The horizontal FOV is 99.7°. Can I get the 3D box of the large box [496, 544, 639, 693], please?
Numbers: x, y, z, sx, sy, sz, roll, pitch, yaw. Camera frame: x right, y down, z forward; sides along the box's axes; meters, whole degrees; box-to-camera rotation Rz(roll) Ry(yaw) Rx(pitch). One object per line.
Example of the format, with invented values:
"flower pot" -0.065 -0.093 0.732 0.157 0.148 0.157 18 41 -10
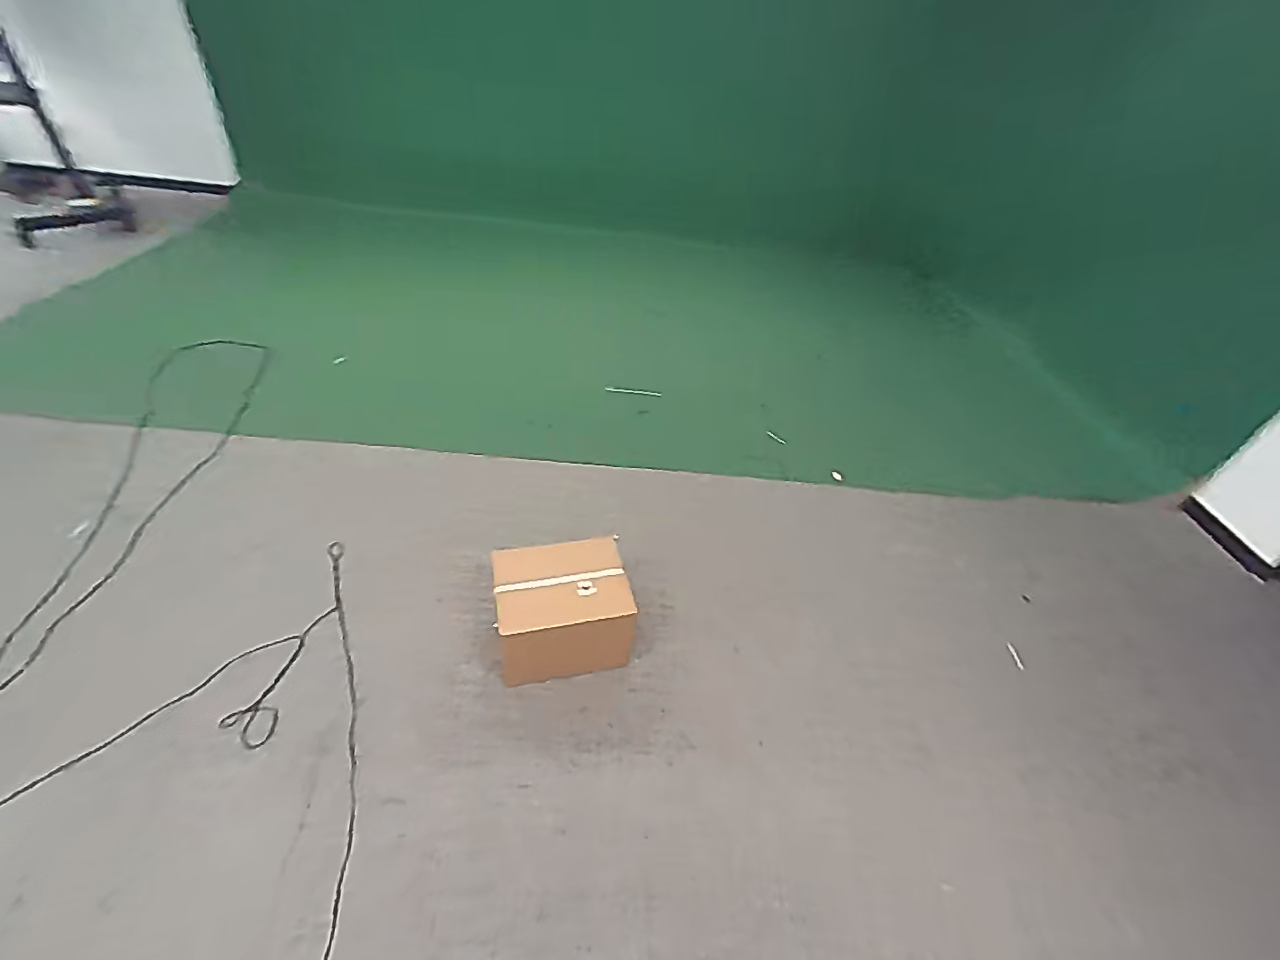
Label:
"large box" -0.249 0.447 1.767 0.408 0.320 0.320 -5 43 -16
